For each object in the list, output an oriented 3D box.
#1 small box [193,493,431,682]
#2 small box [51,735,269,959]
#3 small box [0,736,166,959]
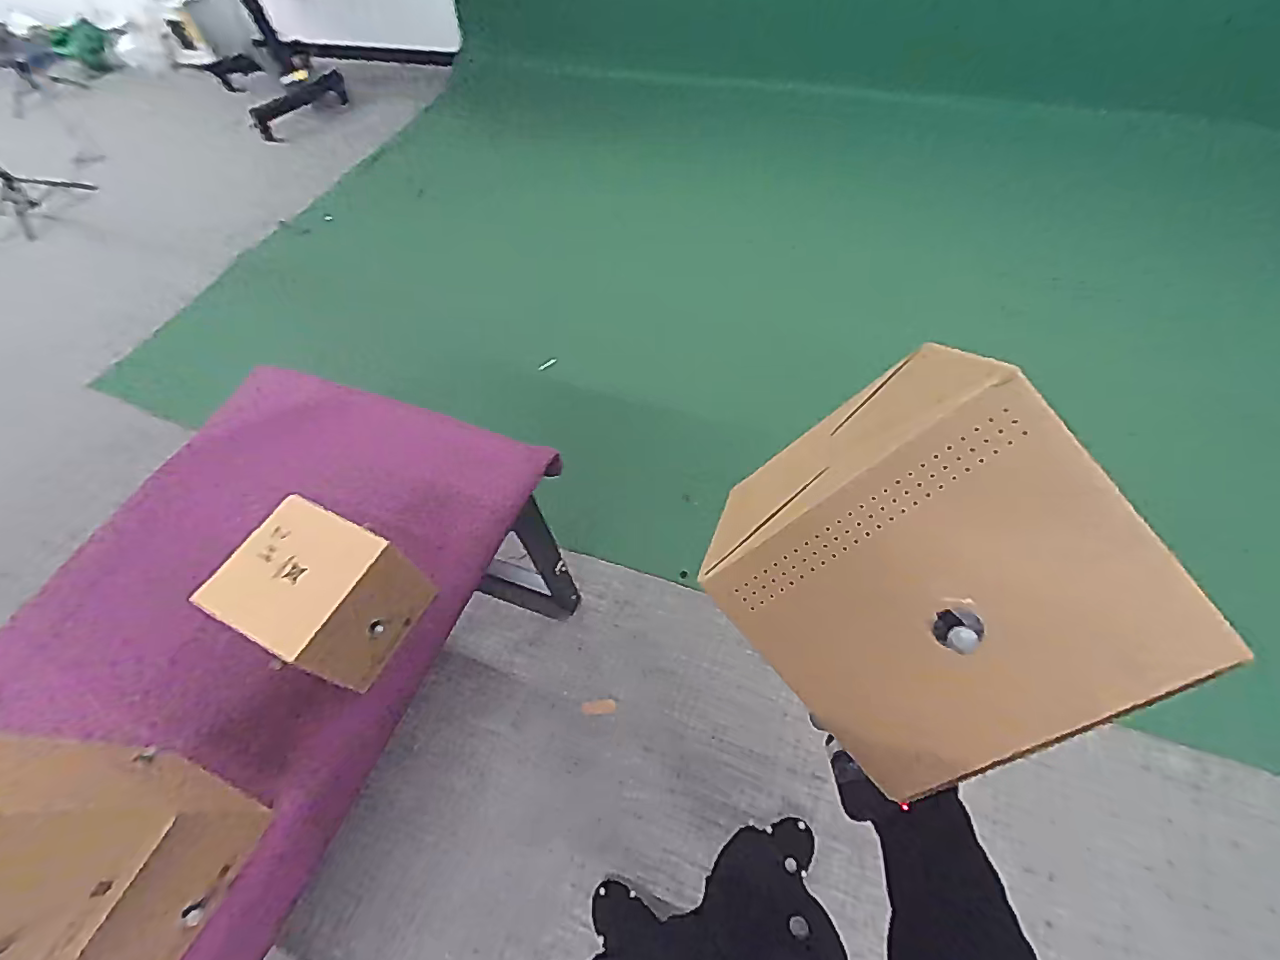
[{"bbox_3d":[-0.418,0.151,0.724,0.179,0.176,0.168,21,61,17],"label":"small box"},{"bbox_3d":[-0.560,0.400,0.575,0.179,0.176,0.168,17,61,16],"label":"small box"},{"bbox_3d":[-0.557,0.315,0.435,0.179,0.176,0.168,16,61,17],"label":"small box"}]
